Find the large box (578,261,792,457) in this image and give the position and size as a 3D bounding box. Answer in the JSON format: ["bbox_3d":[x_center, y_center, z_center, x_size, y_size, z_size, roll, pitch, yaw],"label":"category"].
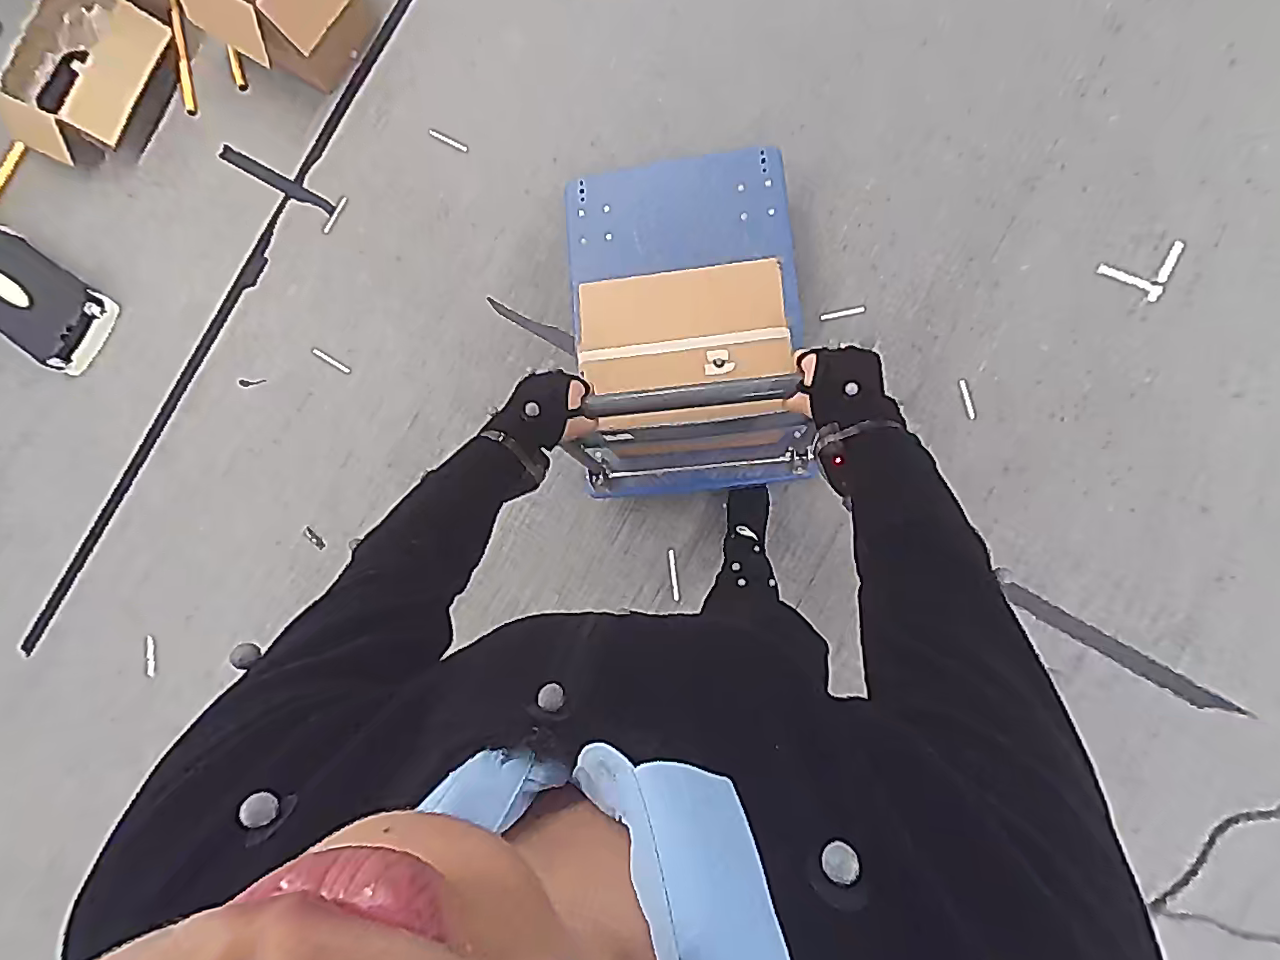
[{"bbox_3d":[0.097,-0.244,1.210,0.408,0.320,0.320,-5,84,6],"label":"large box"}]
